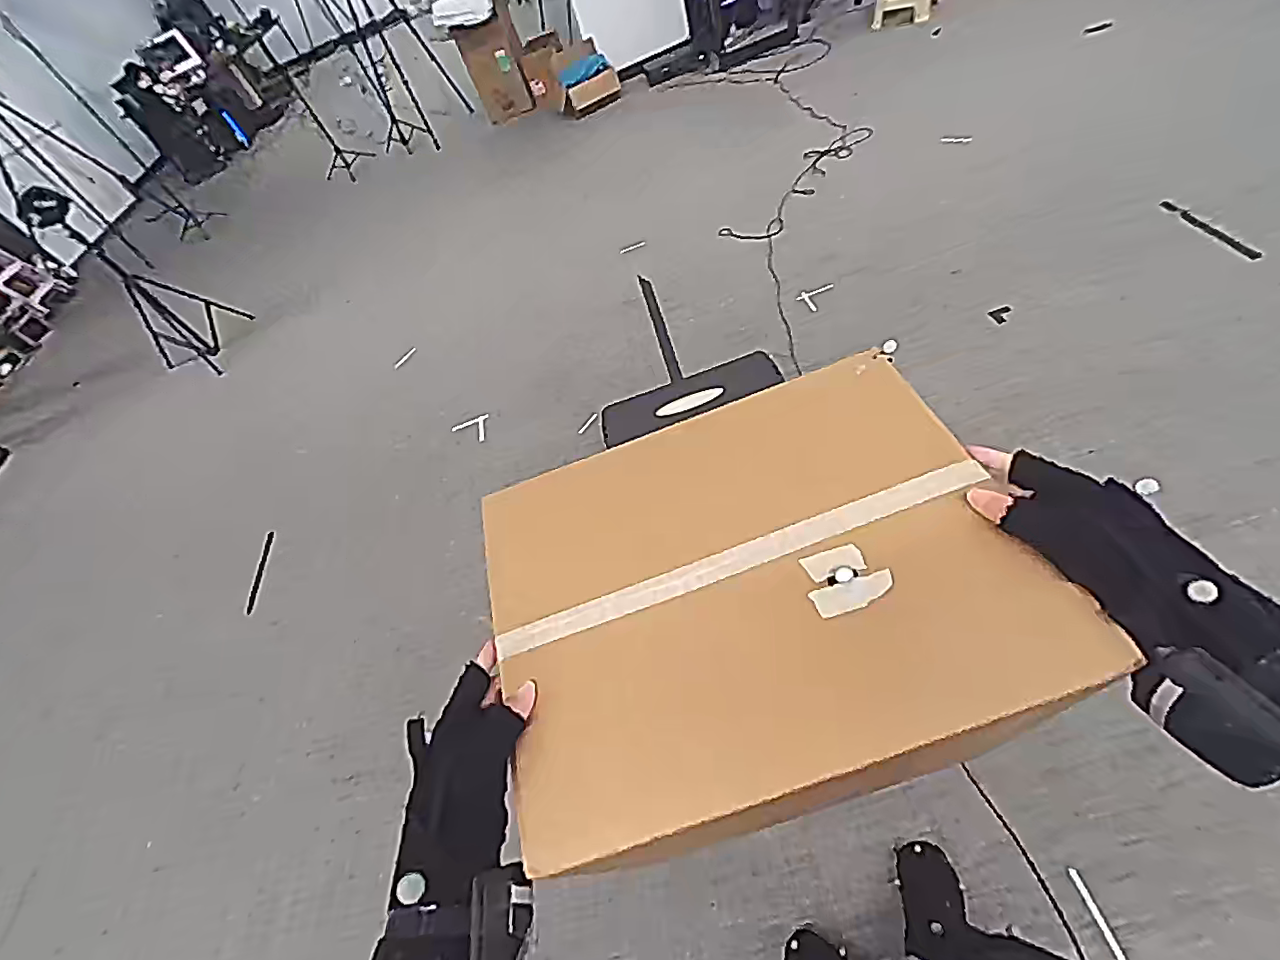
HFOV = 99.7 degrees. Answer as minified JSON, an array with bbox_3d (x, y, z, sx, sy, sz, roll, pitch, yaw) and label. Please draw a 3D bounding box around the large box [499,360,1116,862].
[{"bbox_3d":[0.118,0.150,0.558,0.408,0.320,0.320,-21,54,2],"label":"large box"}]
